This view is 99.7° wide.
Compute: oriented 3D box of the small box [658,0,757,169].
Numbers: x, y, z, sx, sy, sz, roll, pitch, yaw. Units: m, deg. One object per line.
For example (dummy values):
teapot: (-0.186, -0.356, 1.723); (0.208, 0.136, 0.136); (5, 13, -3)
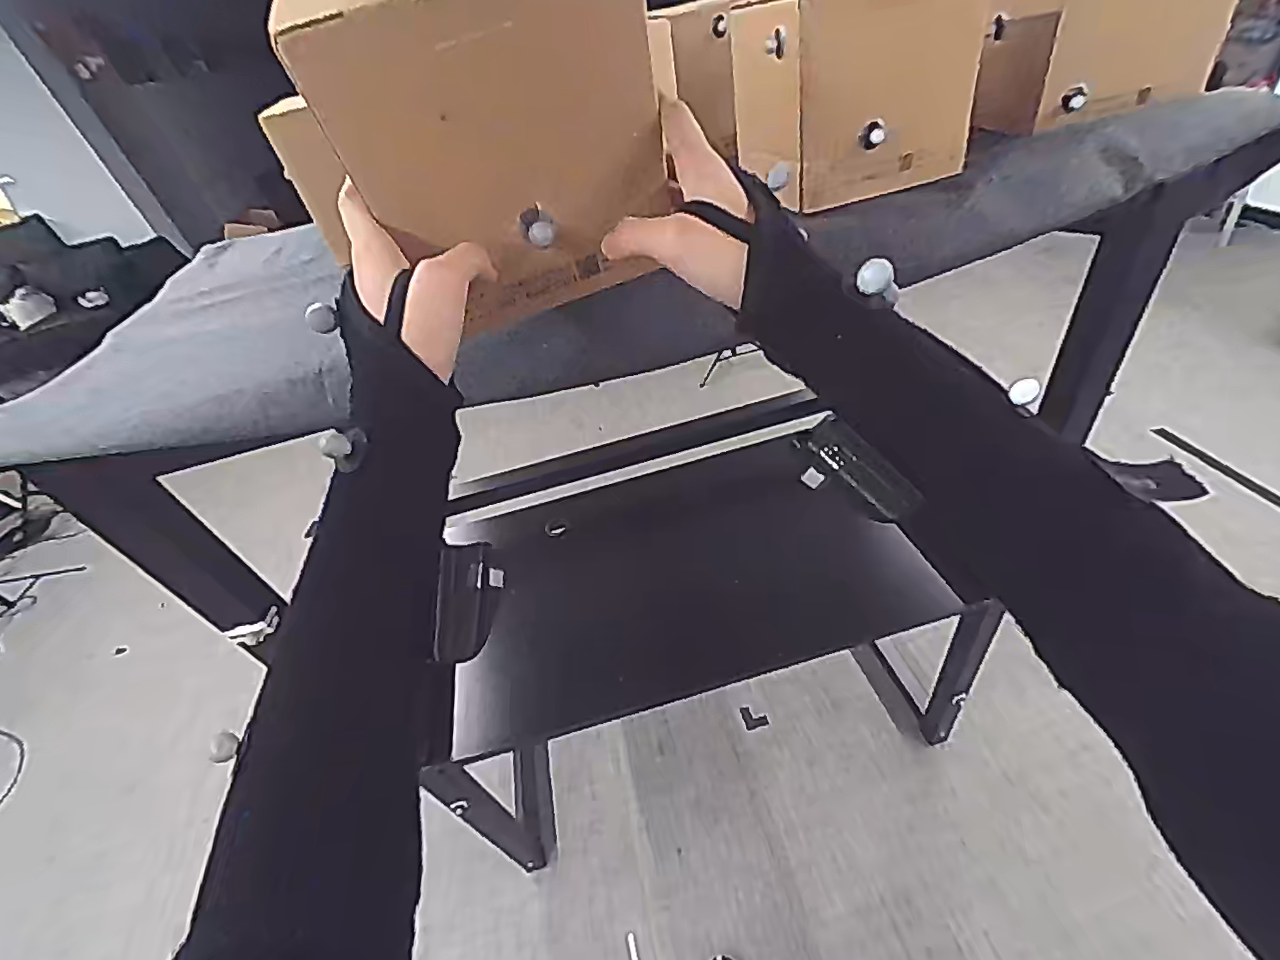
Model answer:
small box: (0.089, -0.553, 0.757); (0.168, 0.176, 0.179); (-23, 42, -10)

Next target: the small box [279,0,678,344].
small box: (-0.087, -0.219, 0.341); (0.168, 0.176, 0.179); (-22, 54, -4)

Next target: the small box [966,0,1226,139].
small box: (0.460, -0.475, 0.565); (0.168, 0.176, 0.179); (-11, 39, 4)

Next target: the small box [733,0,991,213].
small box: (0.201, -0.383, 0.536); (0.168, 0.176, 0.179); (-16, 40, -3)
